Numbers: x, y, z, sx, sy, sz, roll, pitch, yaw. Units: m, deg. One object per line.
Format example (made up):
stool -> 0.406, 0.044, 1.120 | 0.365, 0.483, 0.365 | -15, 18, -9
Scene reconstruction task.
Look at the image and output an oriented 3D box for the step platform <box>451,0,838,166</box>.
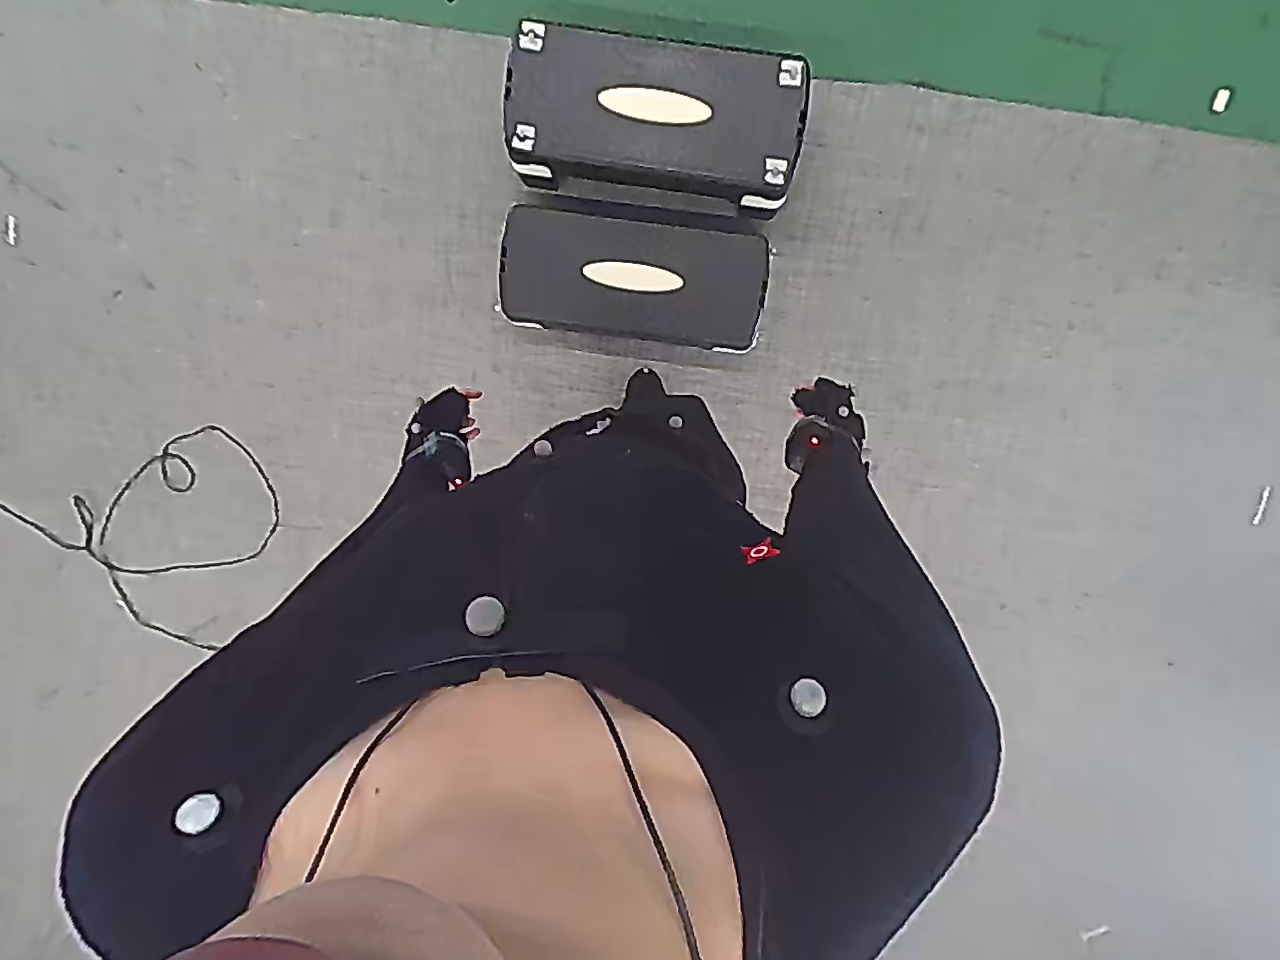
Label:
step platform -> 0.006, -0.819, 1.045 | 0.684, 0.204, 0.286 | 8, 101, 1
